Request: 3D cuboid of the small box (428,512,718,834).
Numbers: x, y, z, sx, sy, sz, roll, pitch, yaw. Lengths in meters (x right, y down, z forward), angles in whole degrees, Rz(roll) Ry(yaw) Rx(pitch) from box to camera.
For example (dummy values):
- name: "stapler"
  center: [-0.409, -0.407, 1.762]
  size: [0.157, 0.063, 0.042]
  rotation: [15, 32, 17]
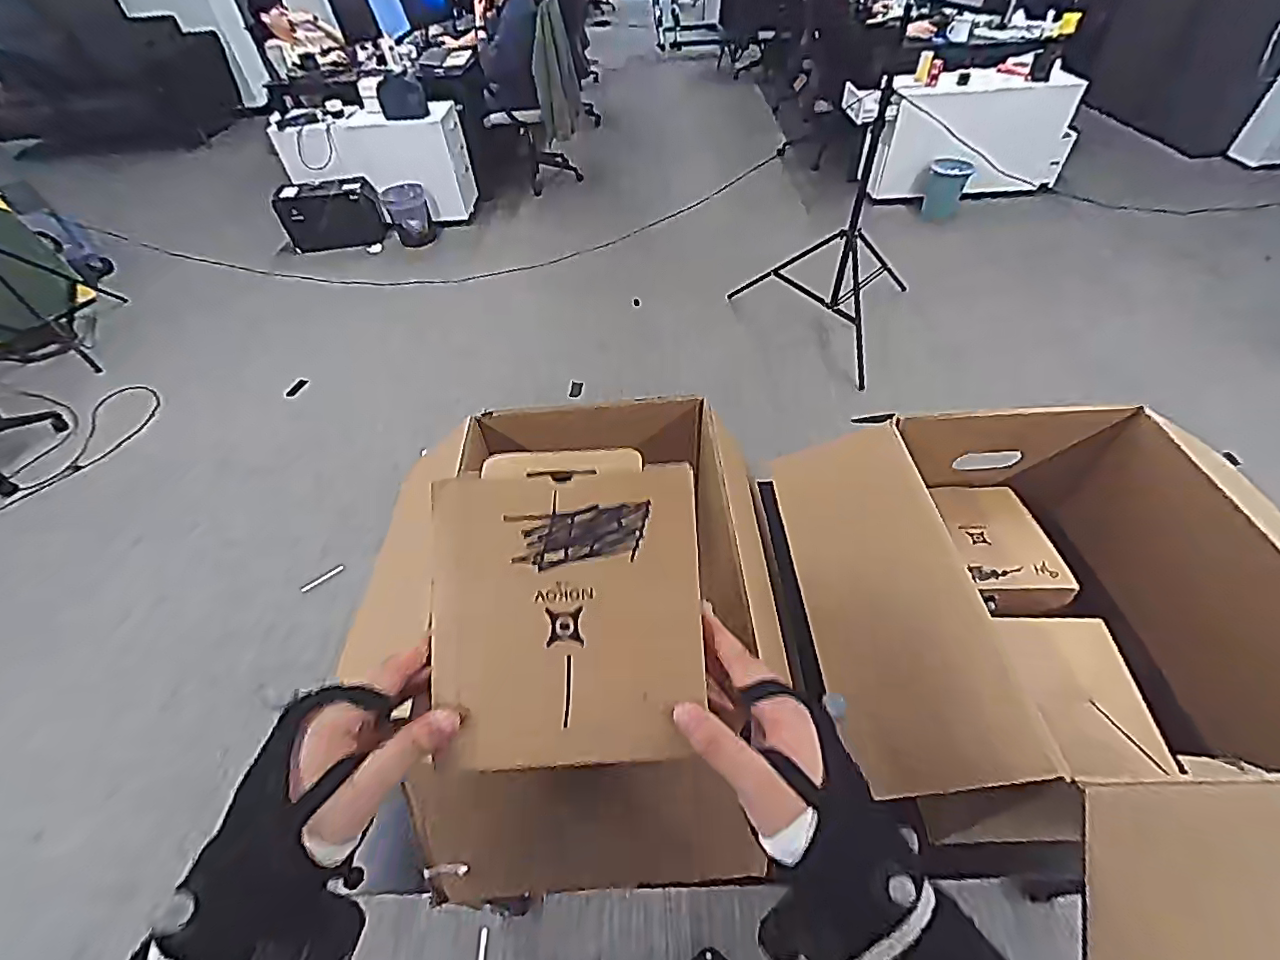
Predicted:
- name: "small box"
  center: [-0.040, 0.123, 0.395]
  size: [0.168, 0.176, 0.179]
  rotation: [-3, 80, 0]
